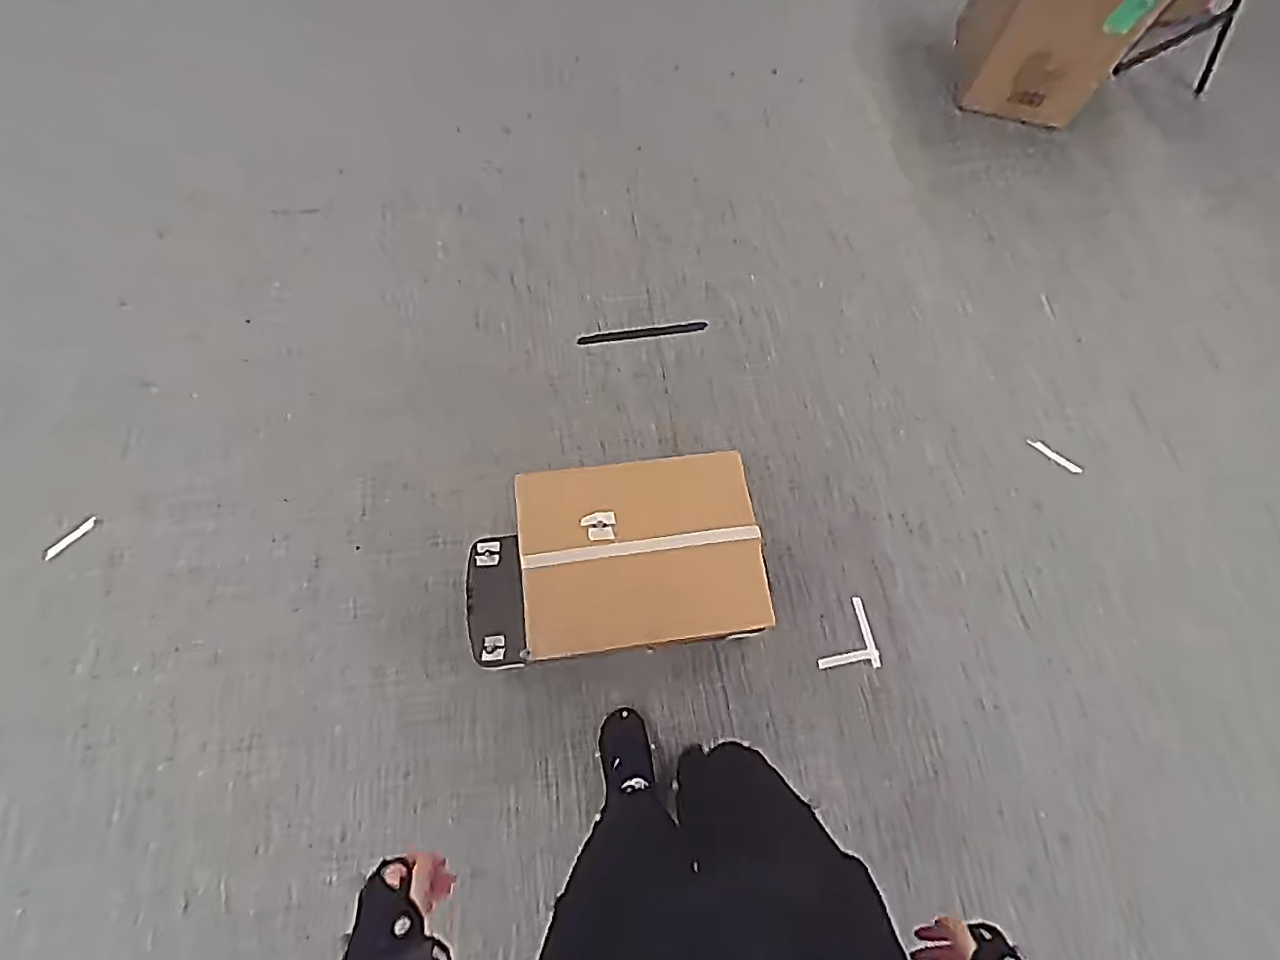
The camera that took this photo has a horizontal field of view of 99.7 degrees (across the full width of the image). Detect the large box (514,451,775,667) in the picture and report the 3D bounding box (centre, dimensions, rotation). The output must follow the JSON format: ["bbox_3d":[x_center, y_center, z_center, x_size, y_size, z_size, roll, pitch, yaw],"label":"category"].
[{"bbox_3d":[-0.002,0.164,1.042,0.408,0.320,0.320,-7,72,-5],"label":"large box"}]

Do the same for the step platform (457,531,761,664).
[{"bbox_3d":[-0.065,0.264,1.257,0.684,0.204,0.286,-2,72,-3],"label":"step platform"}]
